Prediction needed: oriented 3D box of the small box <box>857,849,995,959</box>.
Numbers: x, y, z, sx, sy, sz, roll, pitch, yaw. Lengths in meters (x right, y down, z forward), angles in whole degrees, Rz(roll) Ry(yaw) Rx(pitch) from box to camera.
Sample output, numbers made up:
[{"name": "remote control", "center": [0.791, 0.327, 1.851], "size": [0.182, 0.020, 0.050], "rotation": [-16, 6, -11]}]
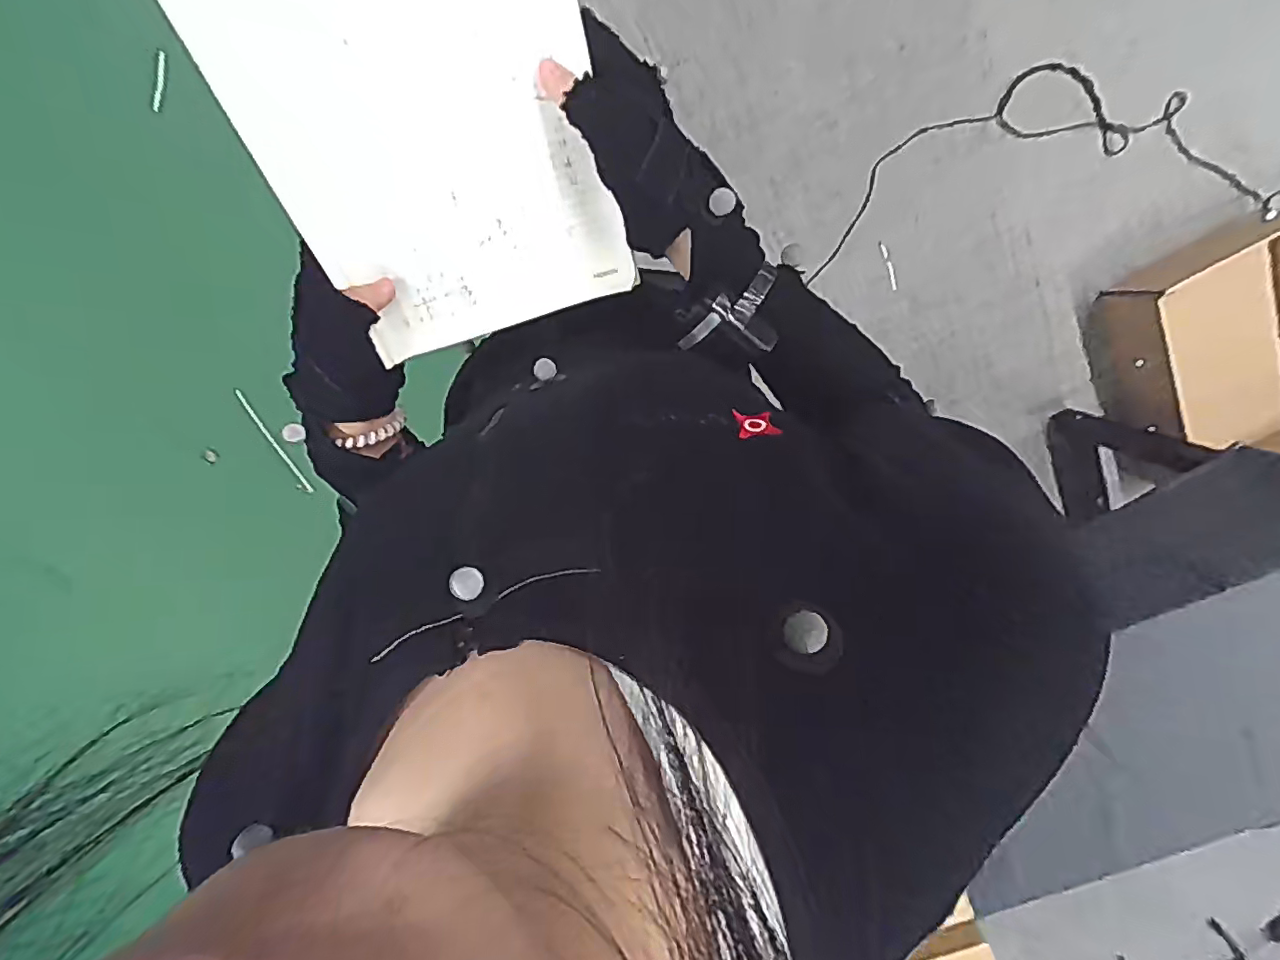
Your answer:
[{"name": "small box", "center": [0.527, 0.829, 0.992], "size": [0.168, 0.176, 0.179], "rotation": [-23, 108, 6]}]
